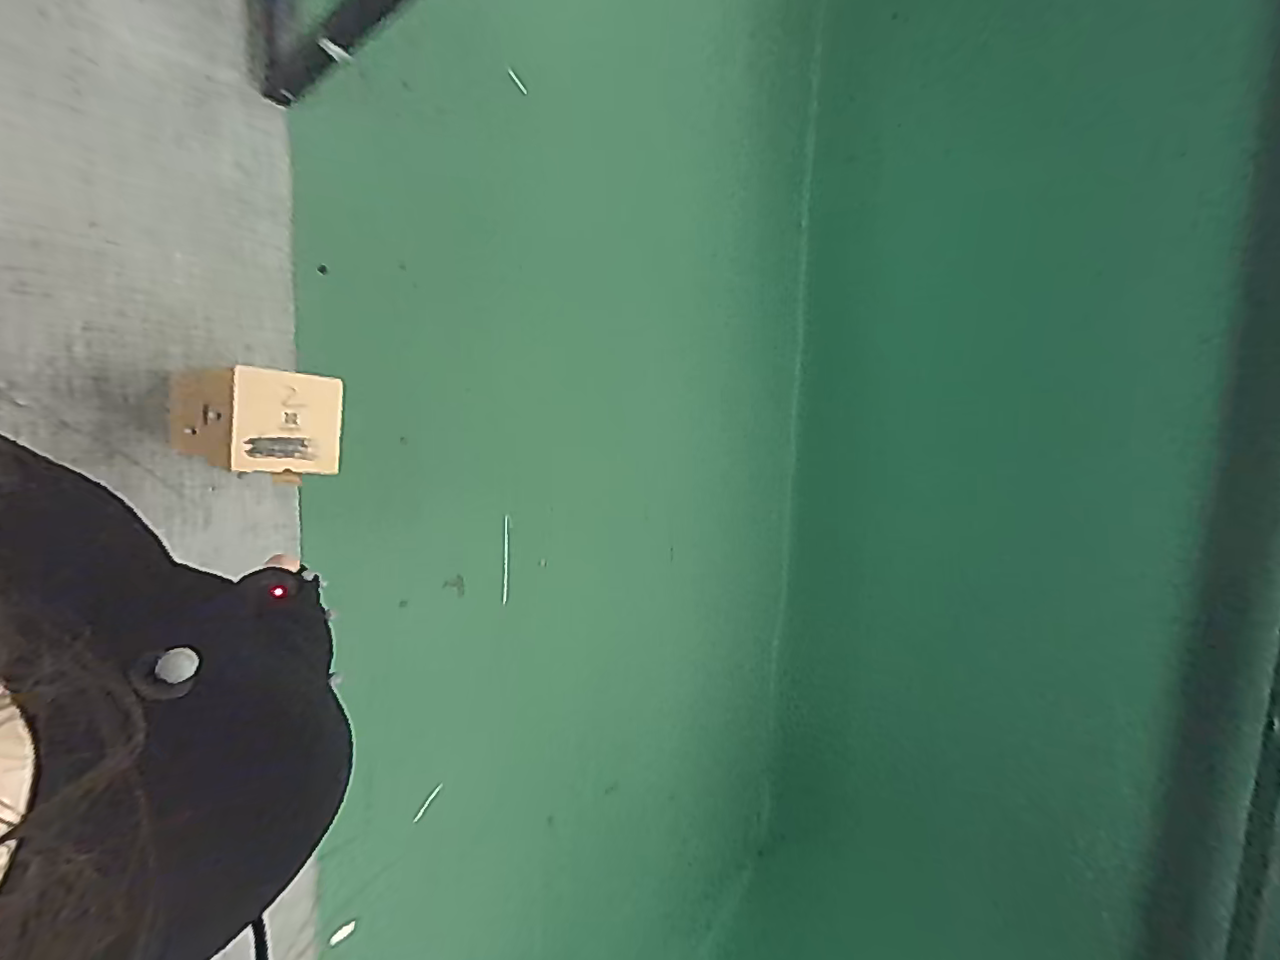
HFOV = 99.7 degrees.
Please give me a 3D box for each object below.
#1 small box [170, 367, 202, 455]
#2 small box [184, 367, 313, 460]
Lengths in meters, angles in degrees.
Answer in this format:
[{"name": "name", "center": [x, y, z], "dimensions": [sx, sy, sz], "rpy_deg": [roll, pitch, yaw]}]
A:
[{"name": "small box", "center": [-0.904, -0.145, 1.183], "dimensions": [0.168, 0.176, 0.179], "rpy_deg": [0, 97, -52]}, {"name": "small box", "center": [-0.782, -0.130, 1.078], "dimensions": [0.179, 0.176, 0.168], "rpy_deg": [-3, 99, -52]}]
